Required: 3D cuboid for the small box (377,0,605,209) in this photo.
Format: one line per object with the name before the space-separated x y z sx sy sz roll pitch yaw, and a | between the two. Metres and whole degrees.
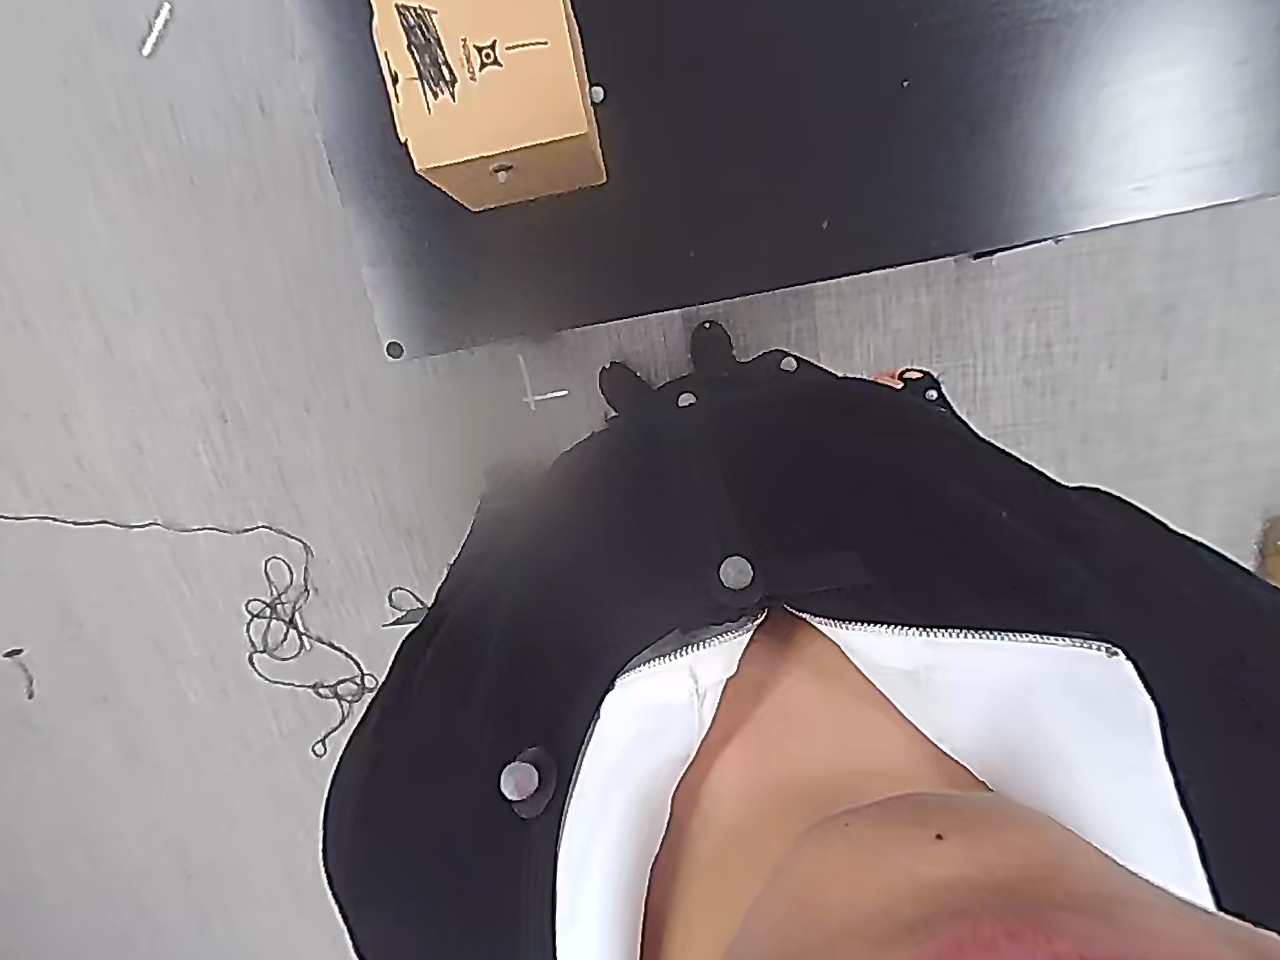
small box | -0.145 -0.416 0.591 0.179 0.176 0.168 -10 104 5
